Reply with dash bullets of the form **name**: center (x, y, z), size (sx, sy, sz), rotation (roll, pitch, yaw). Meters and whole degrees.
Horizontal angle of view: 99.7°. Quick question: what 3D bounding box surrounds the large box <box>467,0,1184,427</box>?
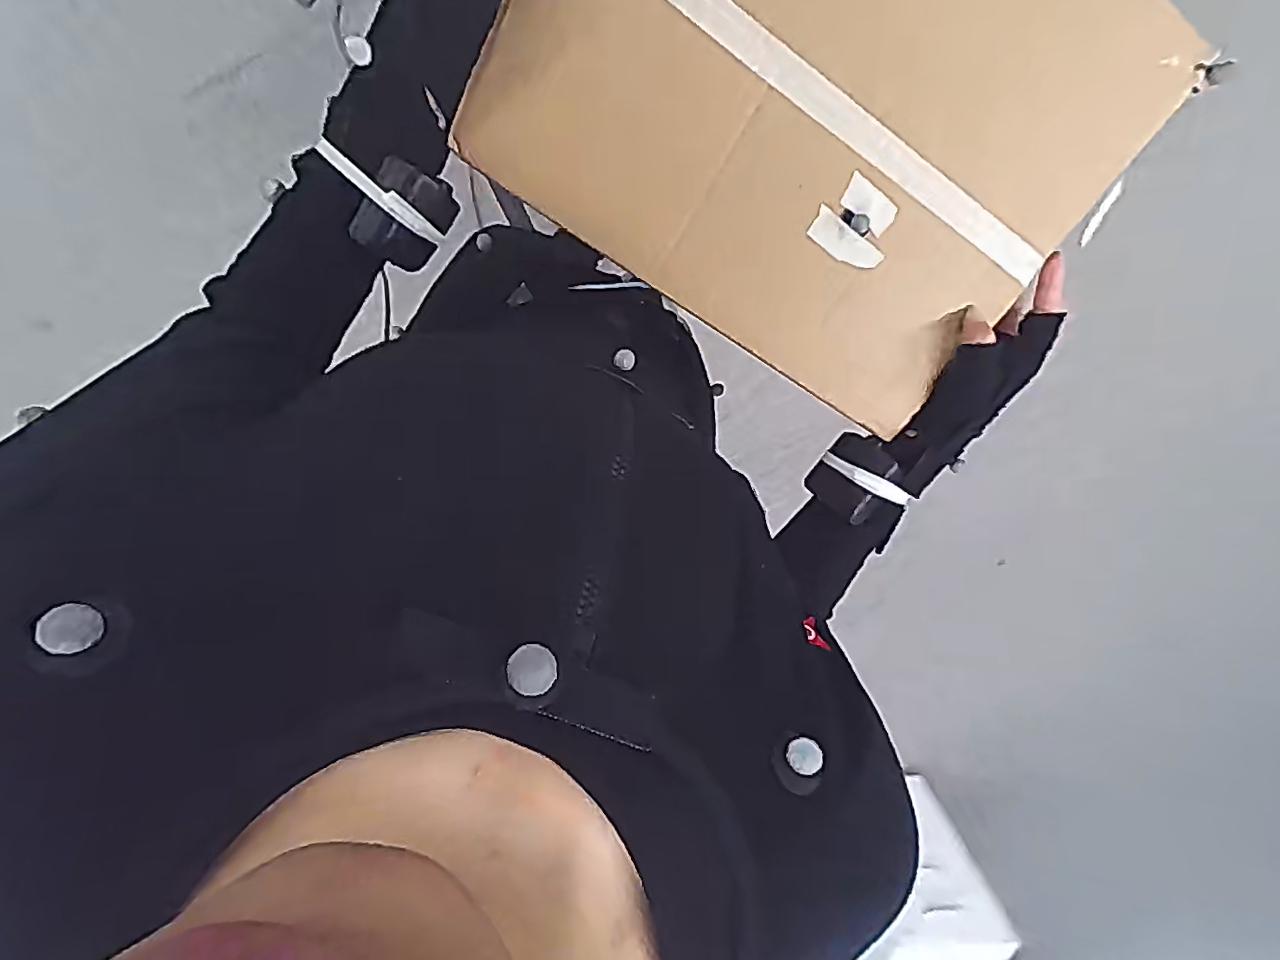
- **large box**: center (0.118, -0.314, 0.507), size (0.408, 0.320, 0.320), rotation (29, 112, -13)
